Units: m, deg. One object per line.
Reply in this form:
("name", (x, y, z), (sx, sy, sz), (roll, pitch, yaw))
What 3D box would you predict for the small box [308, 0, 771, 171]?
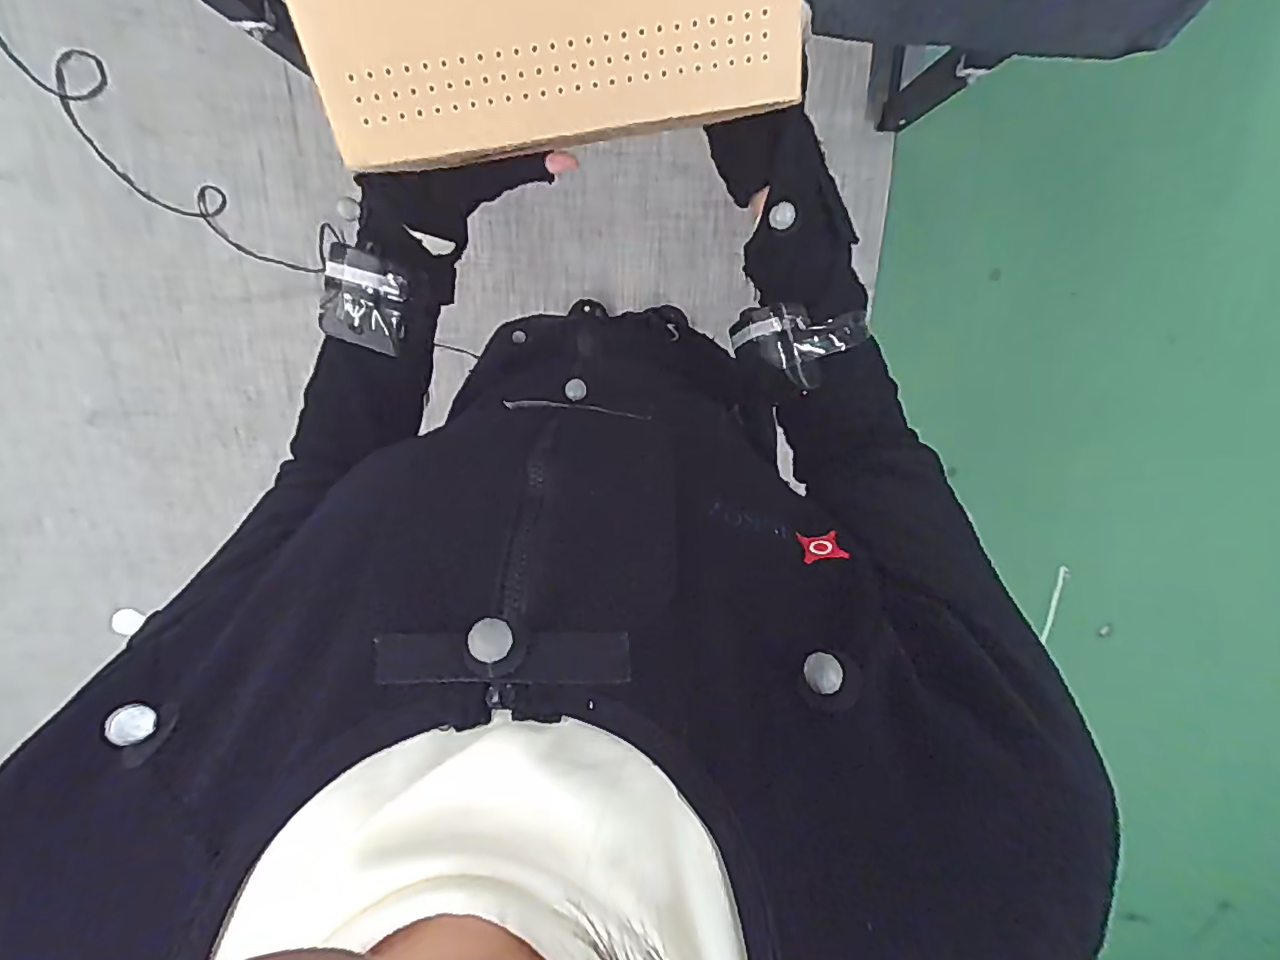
("small box", (-0.045, -0.249, 0.241), (0.179, 0.168, 0.176), (-11, 121, -1))
